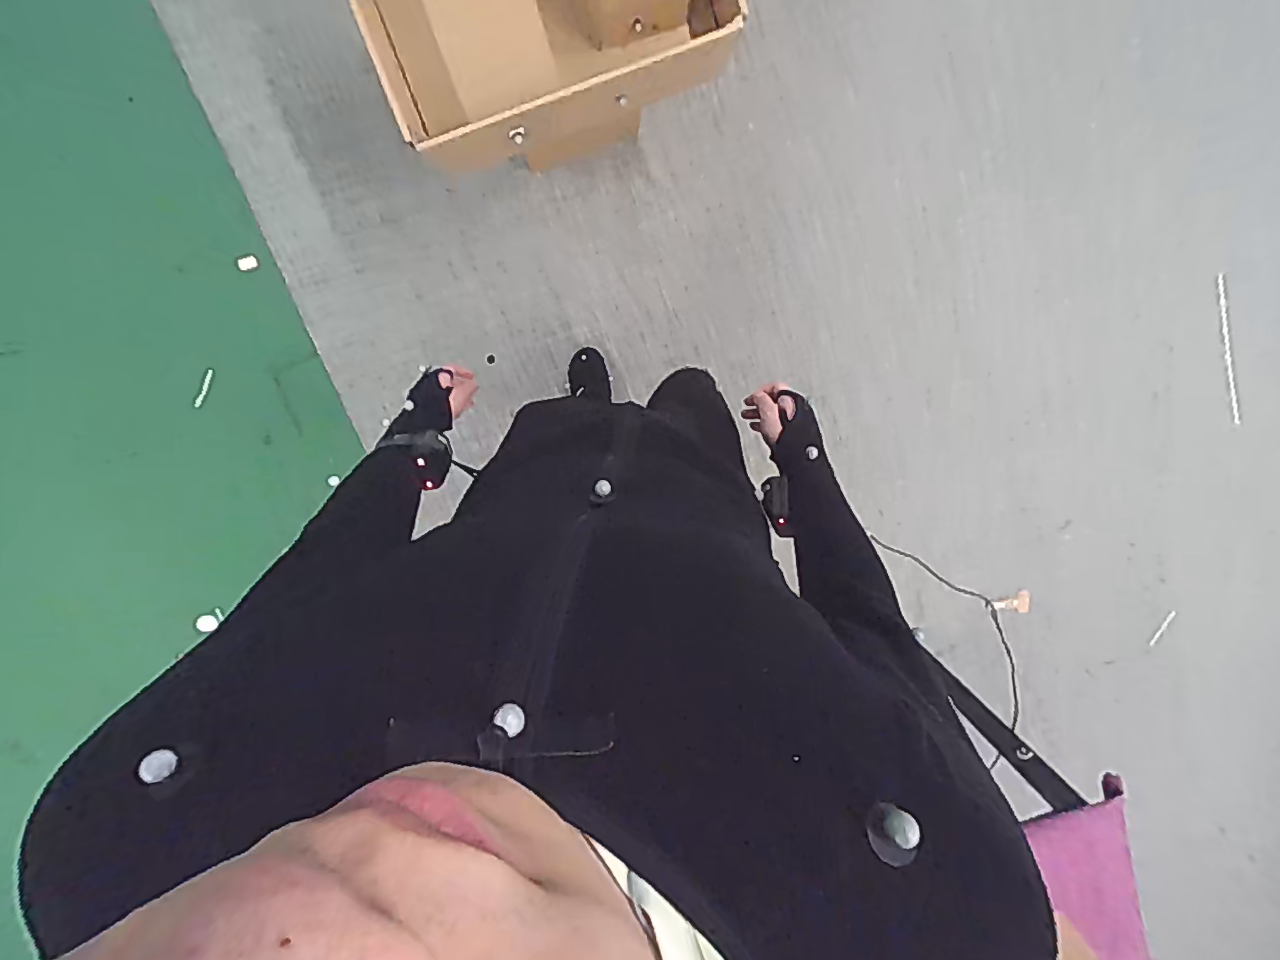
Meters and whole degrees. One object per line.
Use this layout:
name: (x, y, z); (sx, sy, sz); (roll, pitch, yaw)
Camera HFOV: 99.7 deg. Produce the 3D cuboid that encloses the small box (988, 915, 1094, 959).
small box: (0.835, 1.028, 1.074); (0.168, 0.176, 0.179); (-21, 103, 1)
